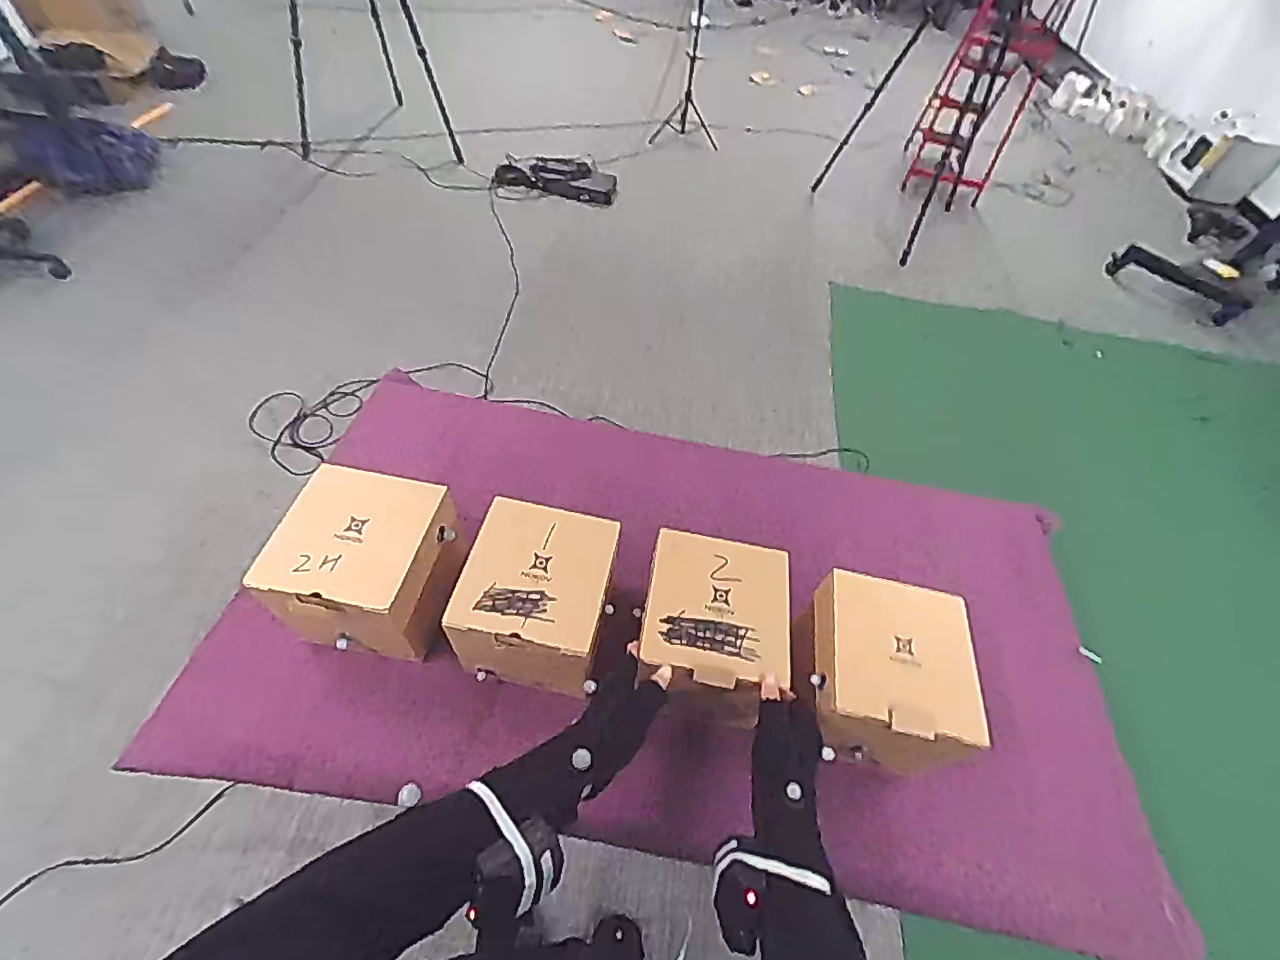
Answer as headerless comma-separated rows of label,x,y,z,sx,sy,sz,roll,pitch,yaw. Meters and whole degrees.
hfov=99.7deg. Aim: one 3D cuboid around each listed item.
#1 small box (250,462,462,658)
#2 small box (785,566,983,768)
small box,-0.345,0.107,0.704,0.168,0.176,0.179,11,53,1
small box,0.290,0.240,0.686,0.168,0.176,0.179,13,52,2
